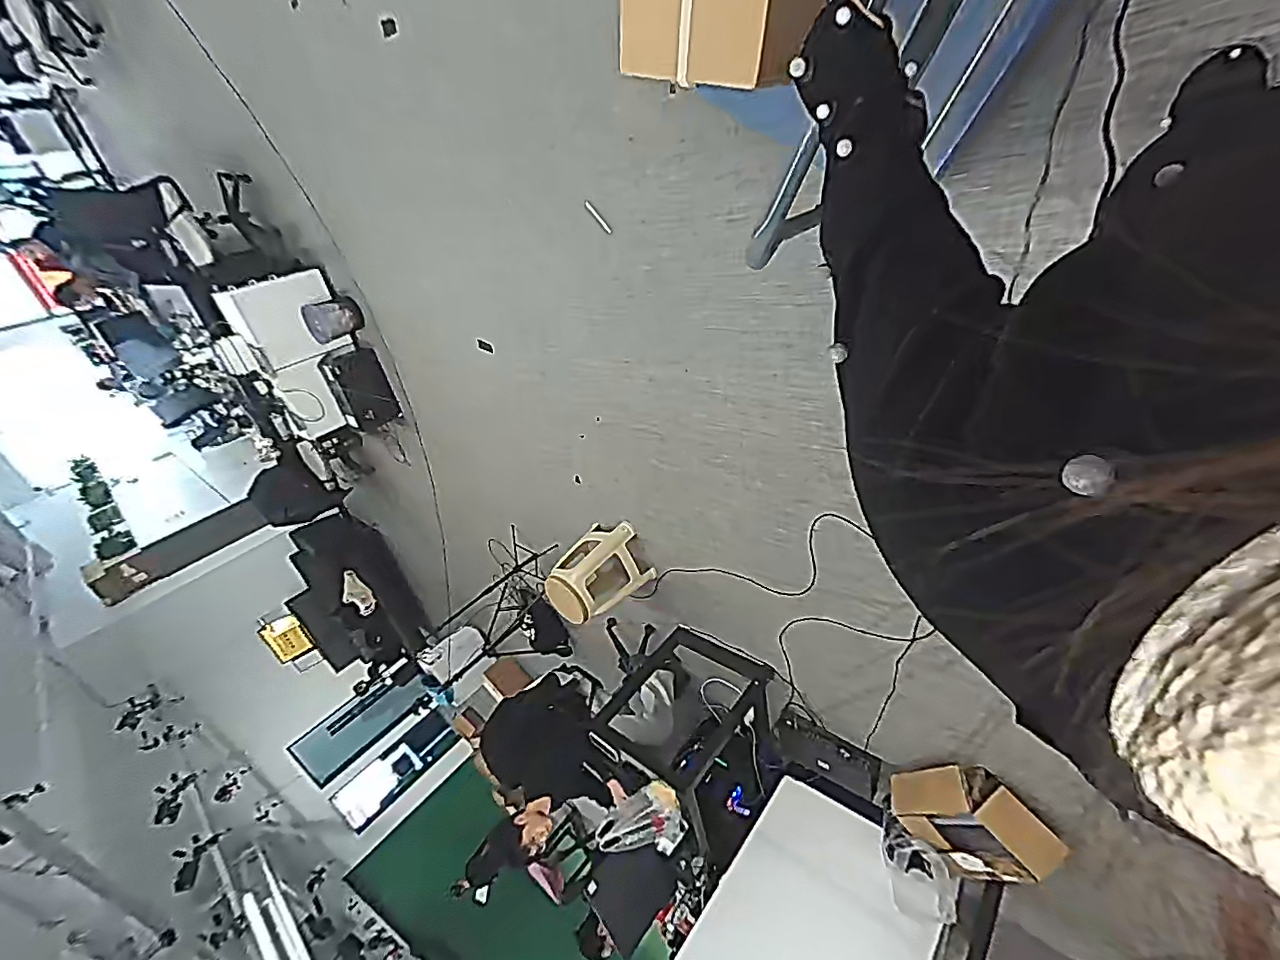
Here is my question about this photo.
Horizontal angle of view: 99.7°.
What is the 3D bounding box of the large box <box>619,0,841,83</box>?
[{"bbox_3d":[0.176,-0.968,0.963,0.320,0.320,0.408,29,137,27],"label":"large box"}]
